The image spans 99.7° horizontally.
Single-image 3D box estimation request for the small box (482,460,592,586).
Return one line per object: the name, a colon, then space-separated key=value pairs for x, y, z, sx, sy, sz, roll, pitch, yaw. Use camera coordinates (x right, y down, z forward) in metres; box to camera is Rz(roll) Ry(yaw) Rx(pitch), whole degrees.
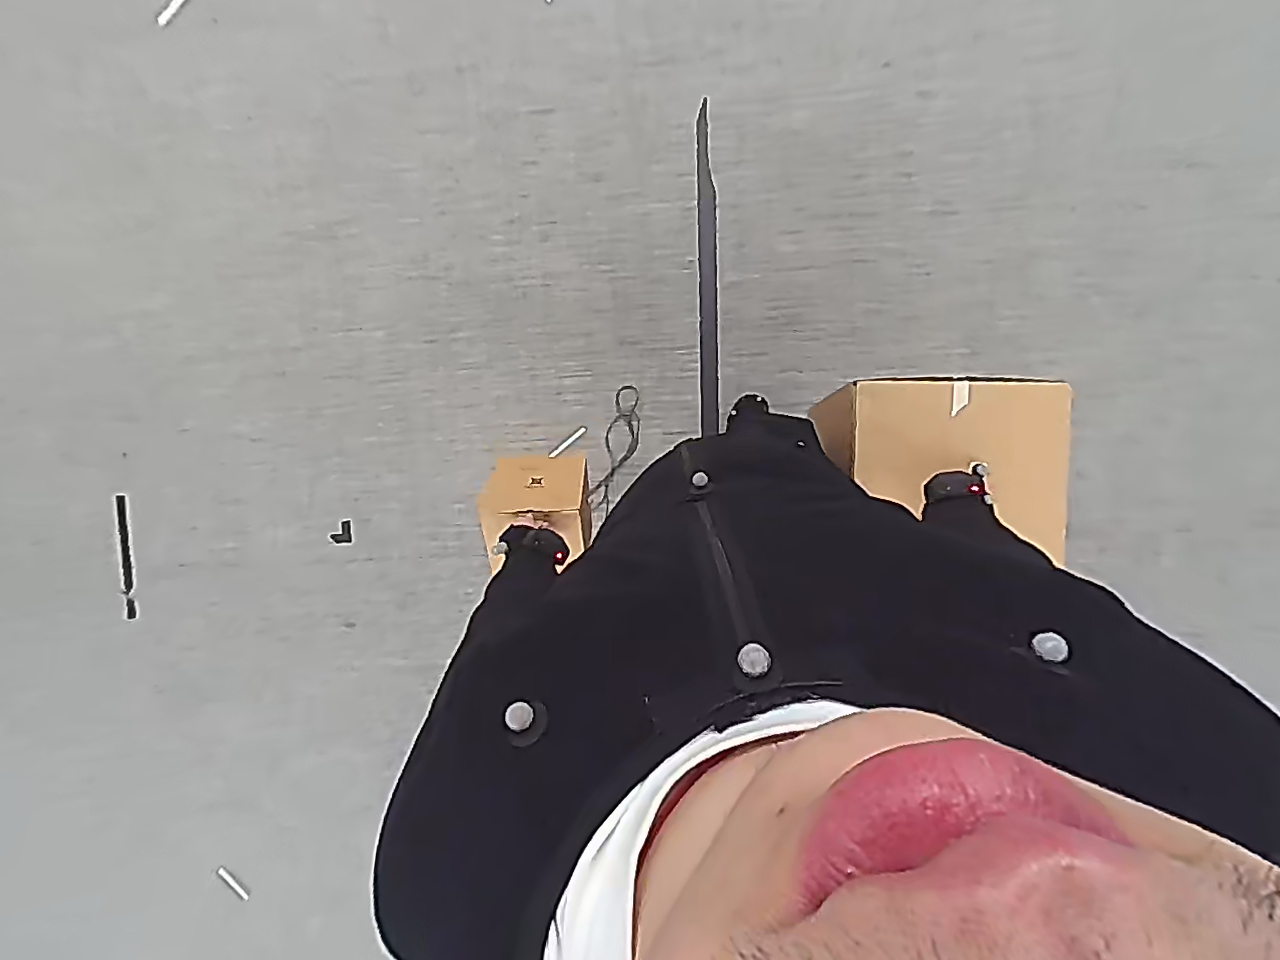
small box: x=-0.177 y=0.080 z=0.990 sx=0.168 sy=0.179 sz=0.176 roll=-2 pitch=123 yaw=-1
